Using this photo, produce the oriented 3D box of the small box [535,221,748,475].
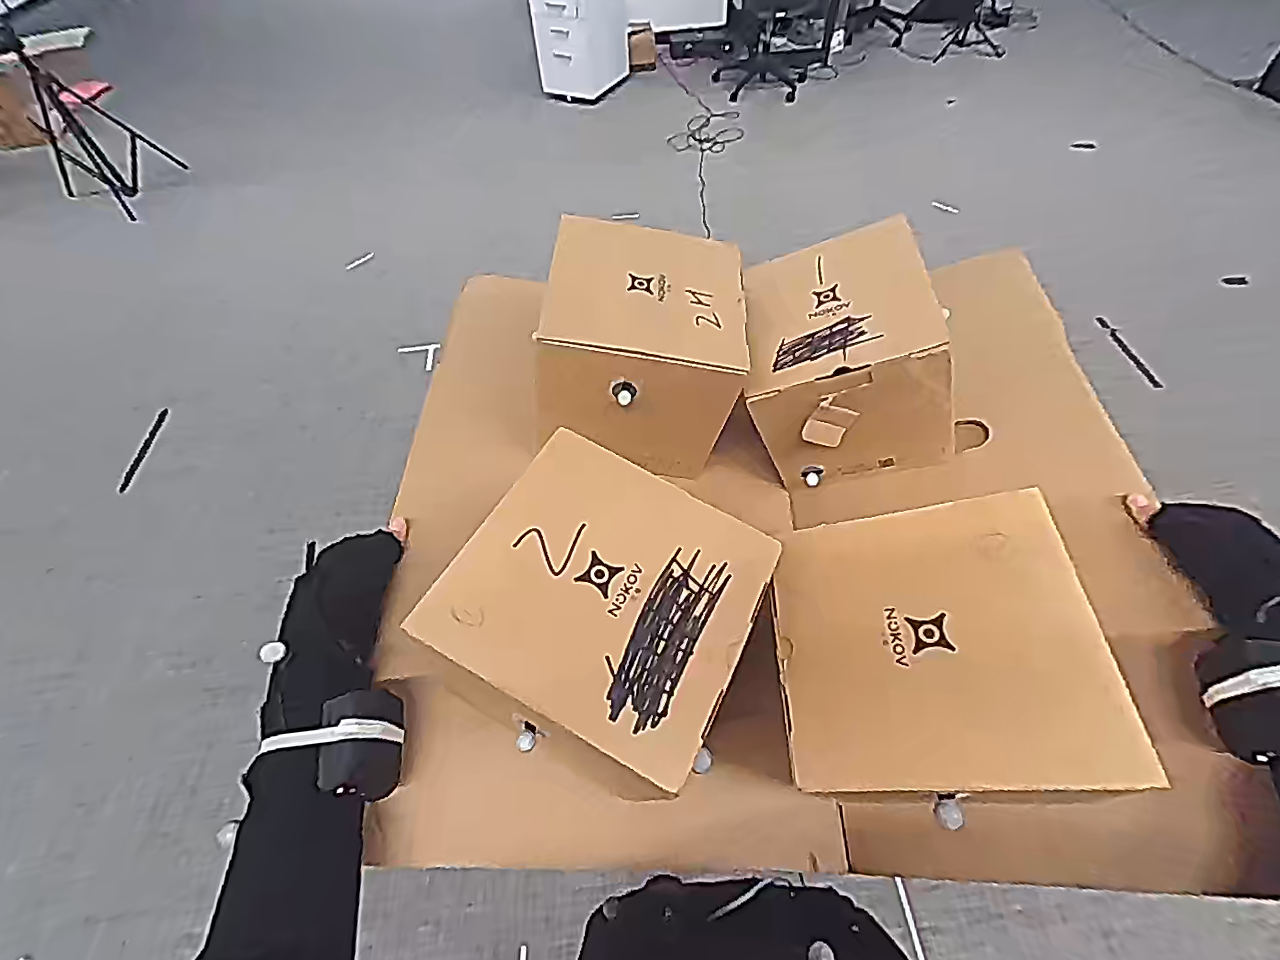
[{"bbox_3d":[-0.005,-0.121,0.538,0.179,0.176,0.168,8,58,-6],"label":"small box"}]
